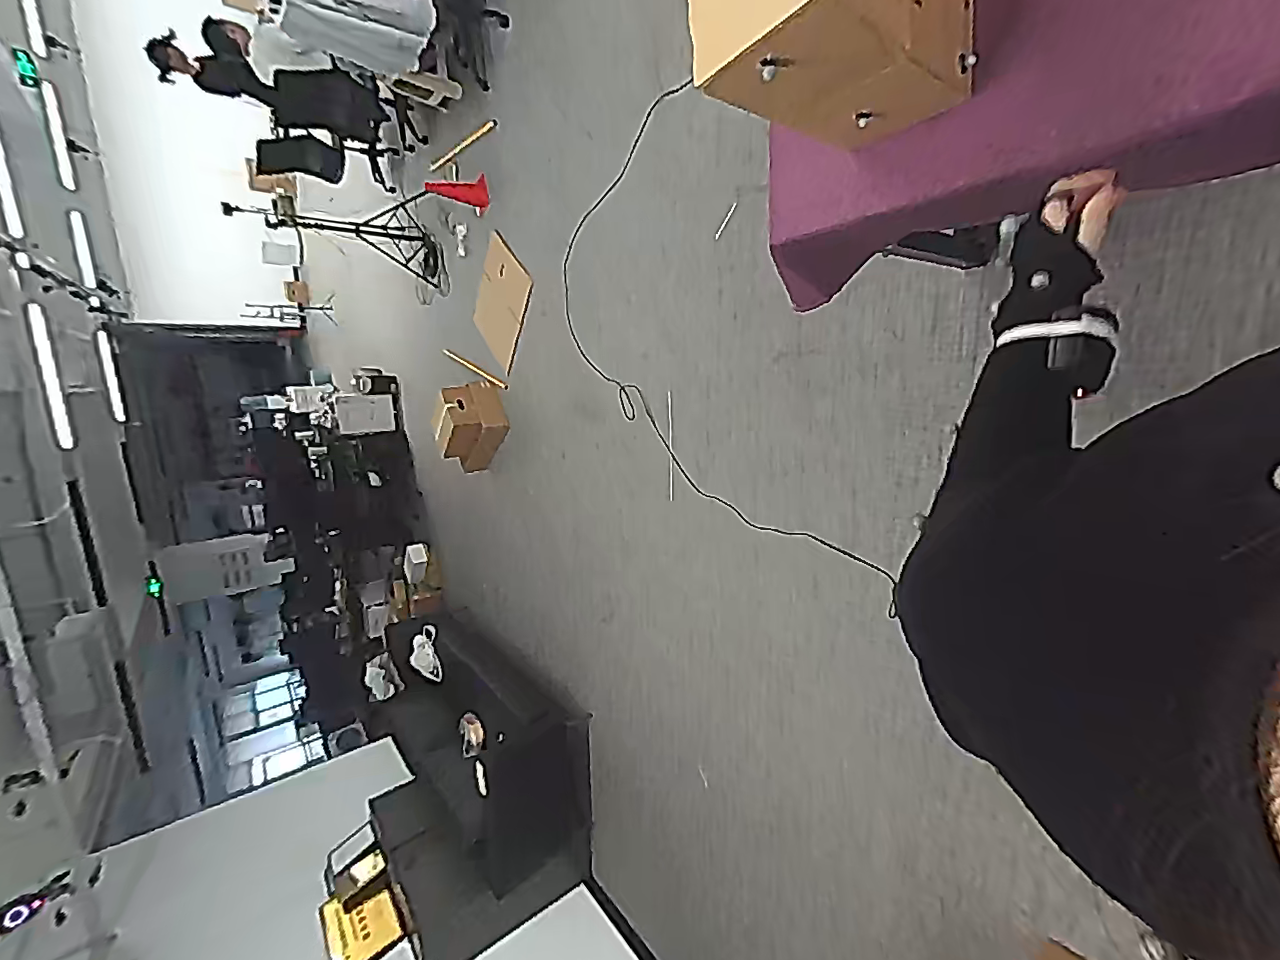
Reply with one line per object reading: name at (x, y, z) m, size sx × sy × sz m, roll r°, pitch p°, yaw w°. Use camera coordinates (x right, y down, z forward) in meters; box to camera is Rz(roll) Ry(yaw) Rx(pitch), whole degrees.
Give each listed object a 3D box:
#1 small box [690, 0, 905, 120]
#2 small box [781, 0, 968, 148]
small box at (0.175, -0.539, 0.598) m, size 0.179 × 0.176 × 0.168 m, roll 5°, pitch 102°, yaw 54°
small box at (0.301, -0.562, 0.698) m, size 0.179 × 0.176 × 0.168 m, roll 7°, pitch 103°, yaw 54°
